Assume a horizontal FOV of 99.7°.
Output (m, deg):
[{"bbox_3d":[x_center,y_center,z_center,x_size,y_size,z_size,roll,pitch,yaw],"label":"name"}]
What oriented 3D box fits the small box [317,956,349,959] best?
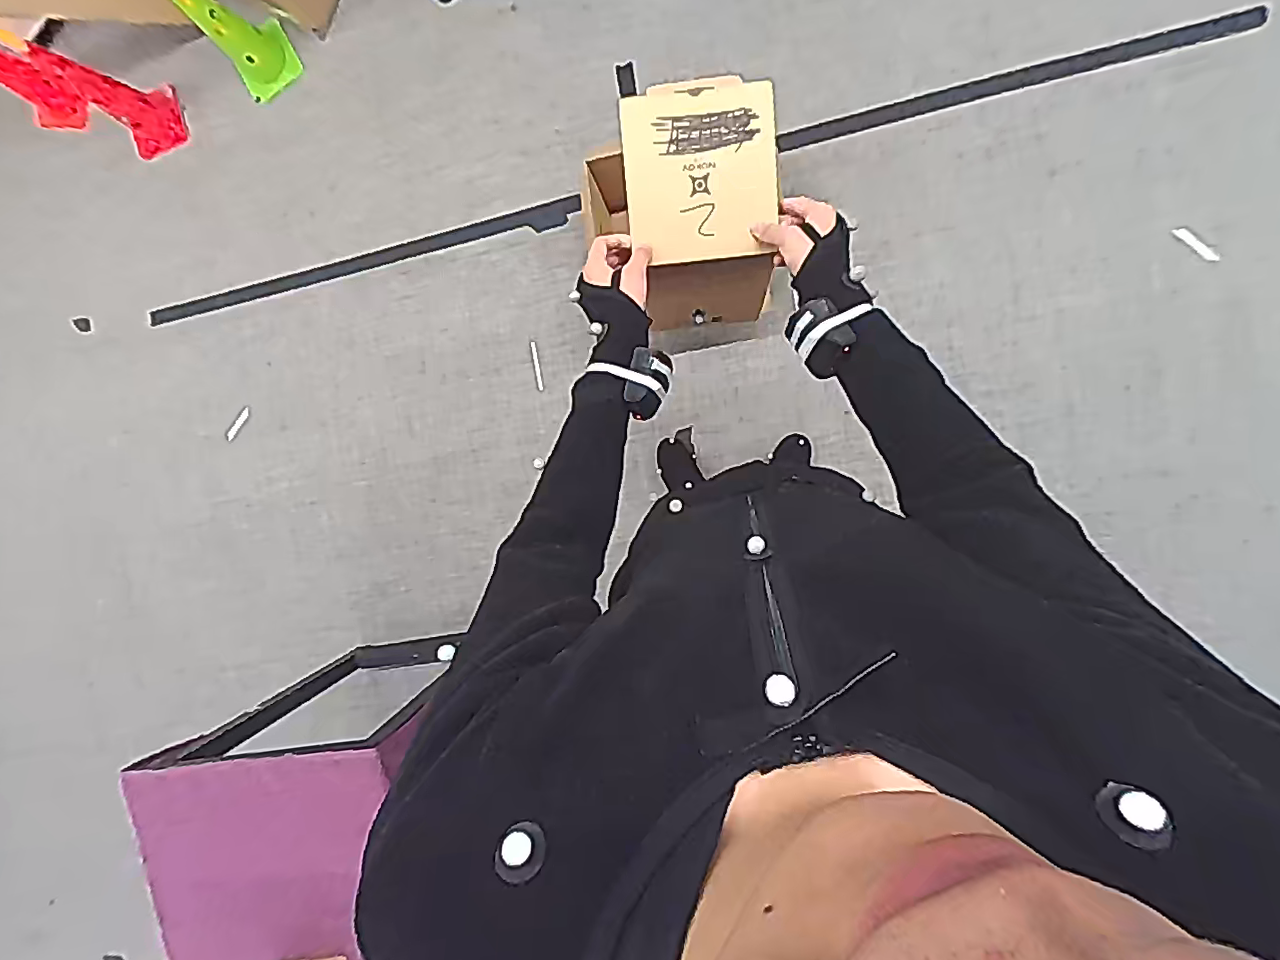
[{"bbox_3d":[-0.663,1.065,1.030,0.179,0.176,0.168,-15,93,8],"label":"small box"}]
